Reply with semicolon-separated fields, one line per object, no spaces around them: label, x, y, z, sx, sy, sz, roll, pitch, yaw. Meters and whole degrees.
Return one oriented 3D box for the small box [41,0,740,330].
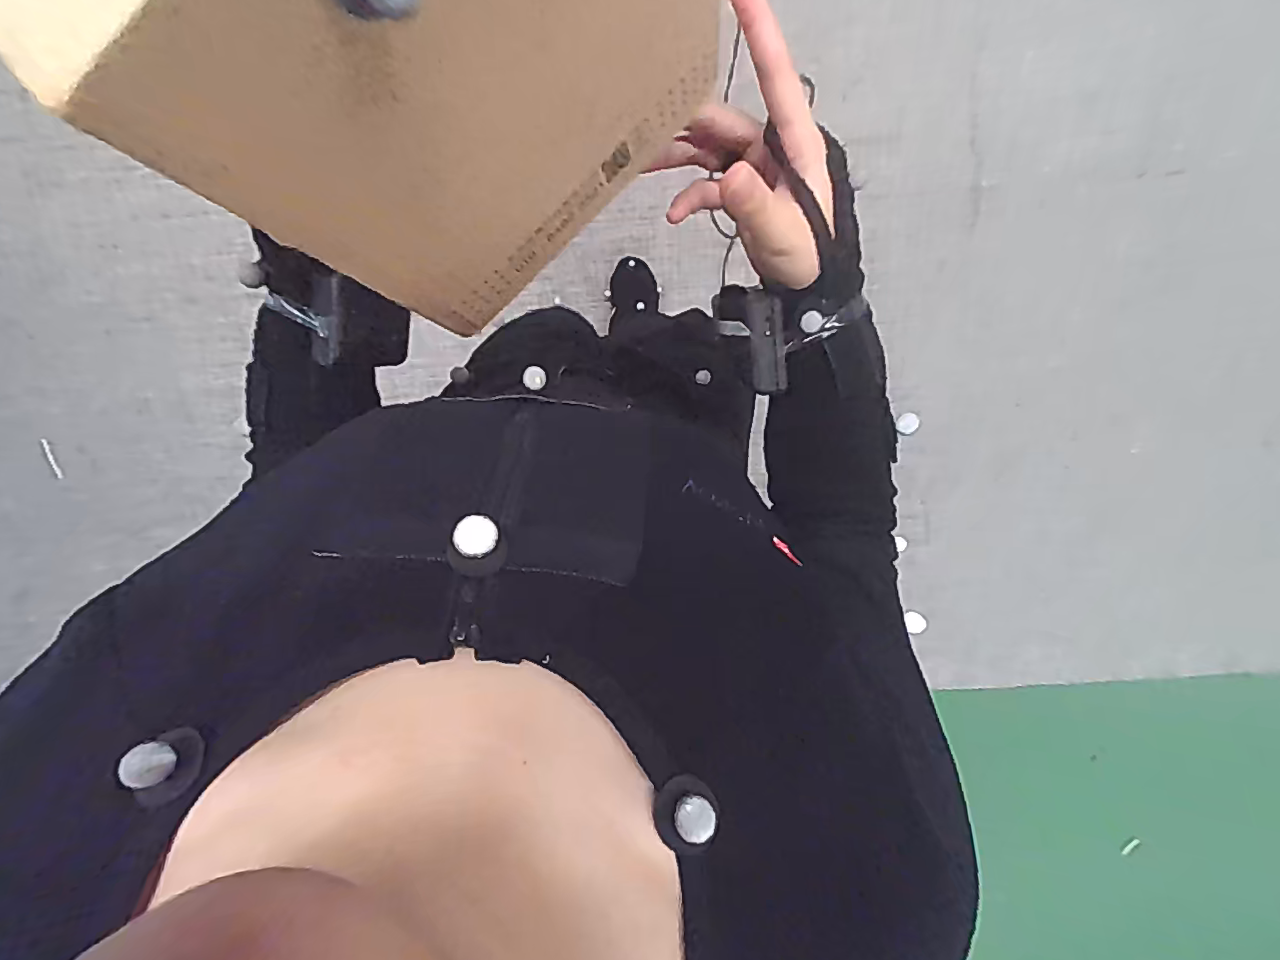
small box;-0.081;-0.183;0.192;0.168;0.176;0.179;-43;84;6
